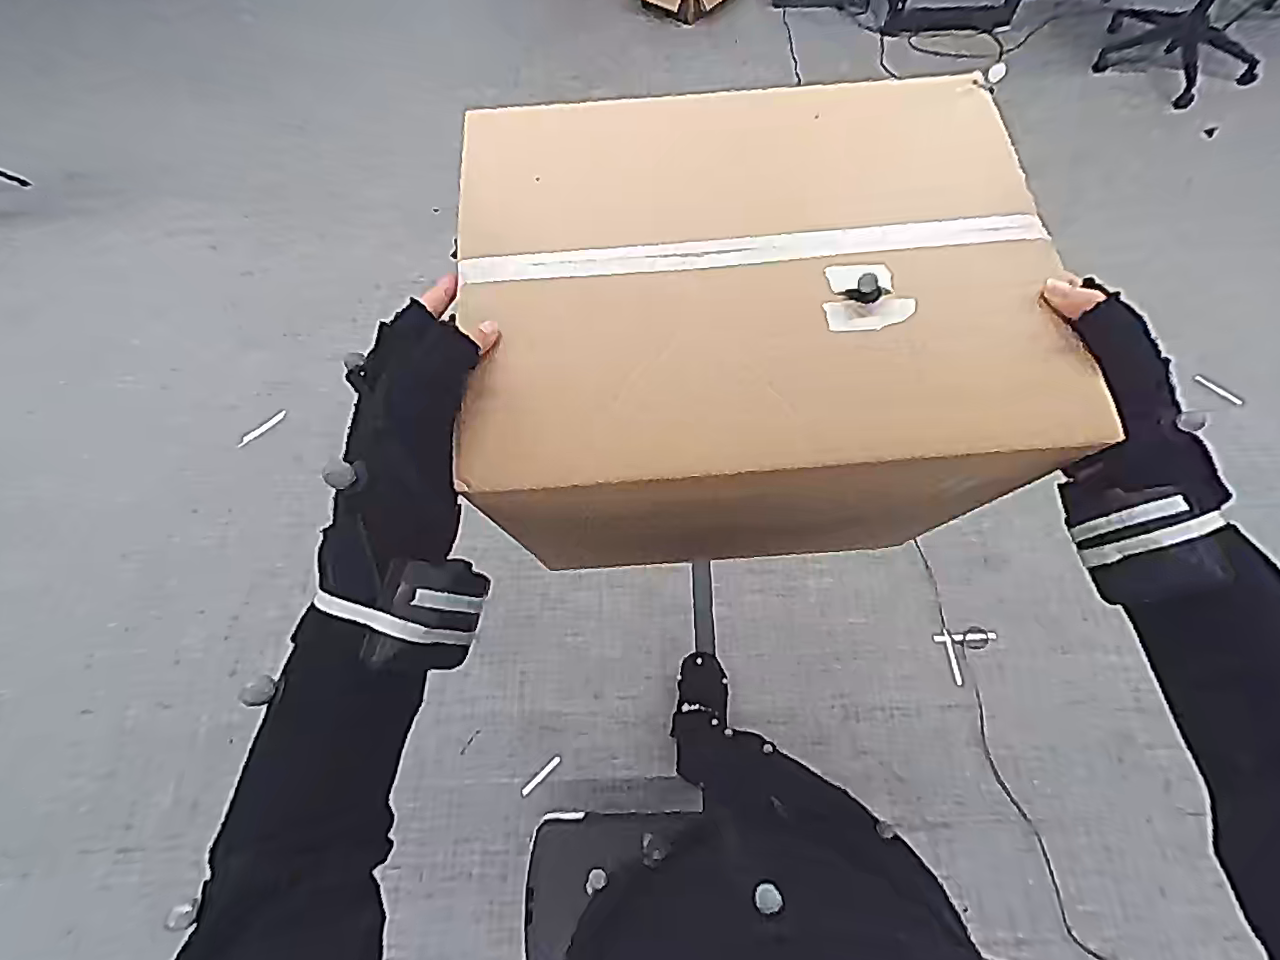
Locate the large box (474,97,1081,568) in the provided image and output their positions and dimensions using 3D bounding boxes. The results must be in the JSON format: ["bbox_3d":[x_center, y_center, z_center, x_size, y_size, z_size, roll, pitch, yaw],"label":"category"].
[{"bbox_3d":[0.078,-0.108,0.536,0.408,0.320,0.320,-5,71,0],"label":"large box"}]
